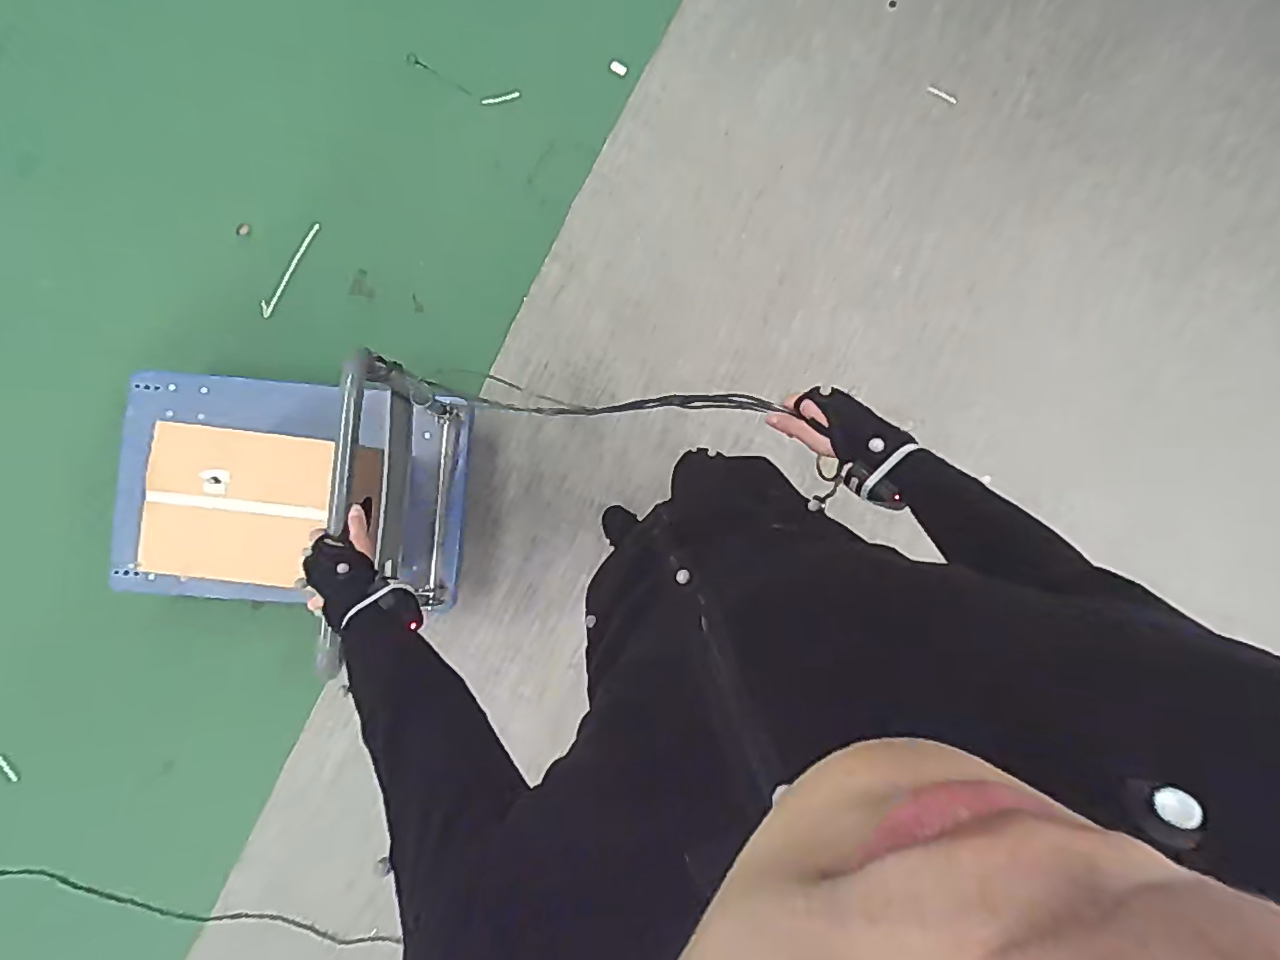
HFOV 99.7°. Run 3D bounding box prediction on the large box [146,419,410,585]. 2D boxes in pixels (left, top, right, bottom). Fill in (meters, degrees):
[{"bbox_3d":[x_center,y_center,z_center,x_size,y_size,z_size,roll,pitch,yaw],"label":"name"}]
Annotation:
[{"bbox_3d":[-0.805,0.046,1.263,0.408,0.320,0.320,7,89,-2],"label":"large box"}]
